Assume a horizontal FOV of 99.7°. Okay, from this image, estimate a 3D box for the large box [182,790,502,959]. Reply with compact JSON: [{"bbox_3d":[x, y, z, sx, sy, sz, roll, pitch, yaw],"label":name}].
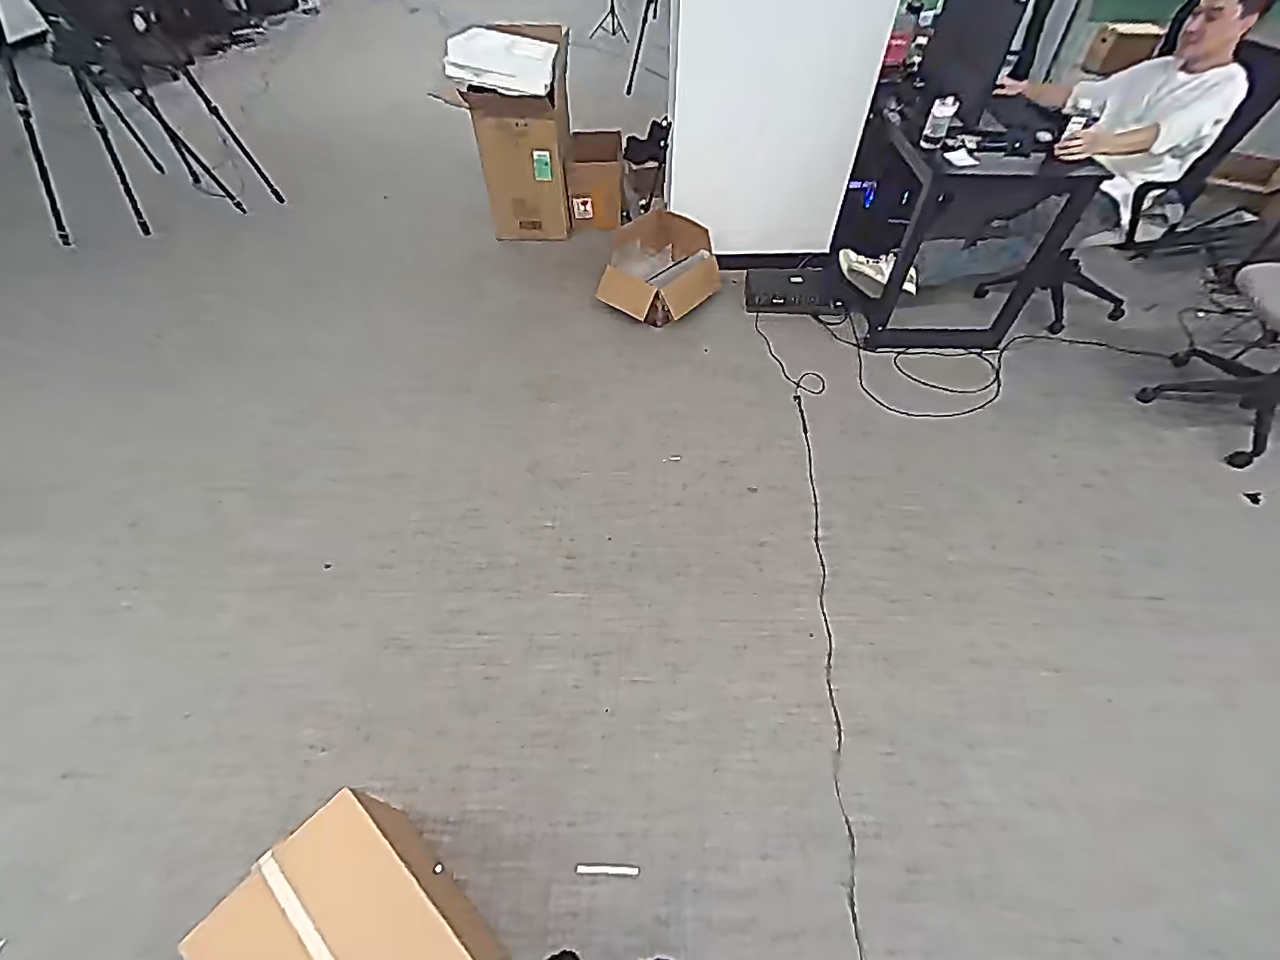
[{"bbox_3d":[-0.528,0.883,1.019,0.408,0.320,0.320,34,58,24],"label":"large box"}]
